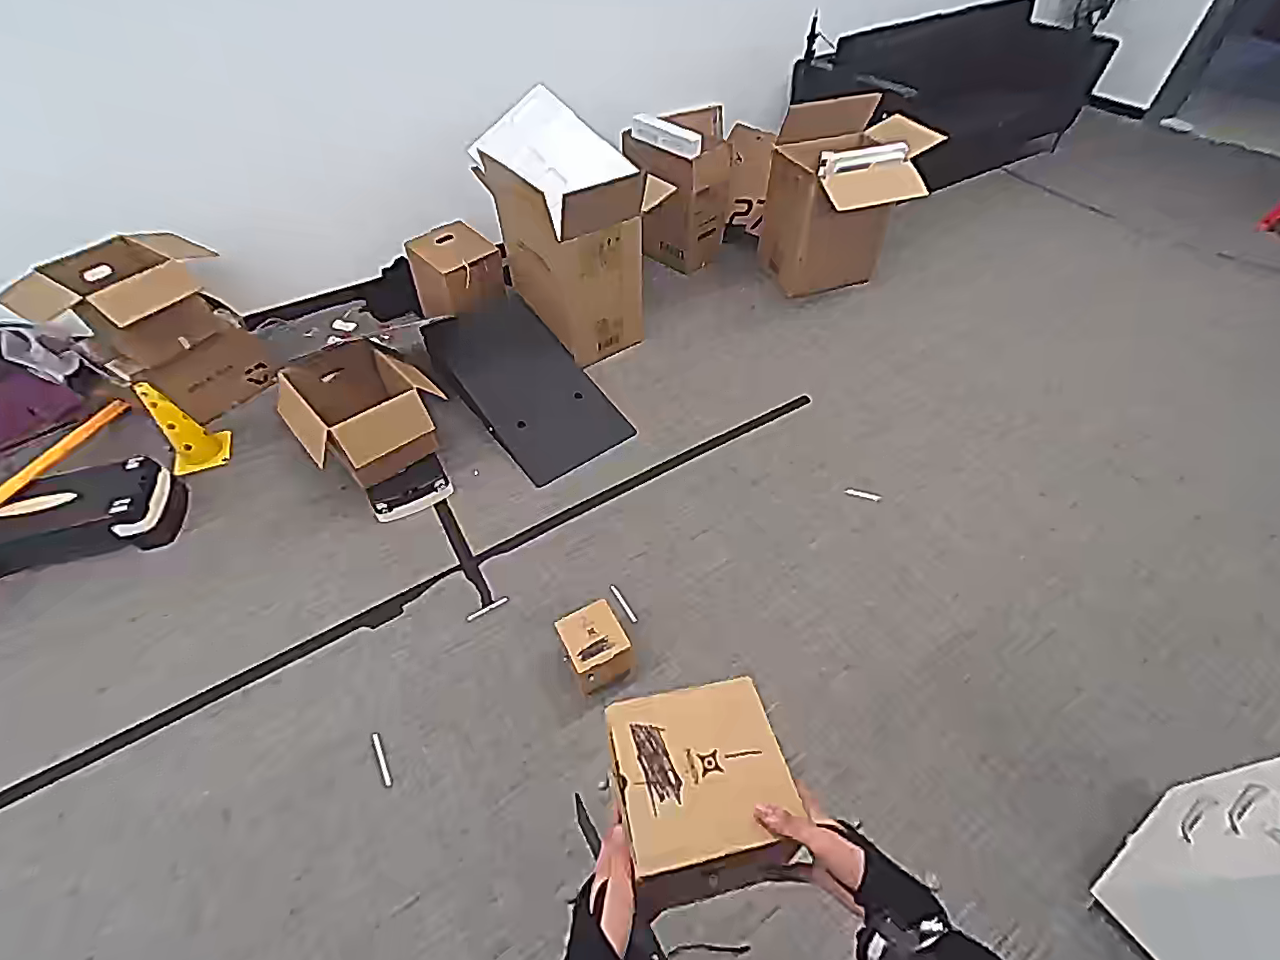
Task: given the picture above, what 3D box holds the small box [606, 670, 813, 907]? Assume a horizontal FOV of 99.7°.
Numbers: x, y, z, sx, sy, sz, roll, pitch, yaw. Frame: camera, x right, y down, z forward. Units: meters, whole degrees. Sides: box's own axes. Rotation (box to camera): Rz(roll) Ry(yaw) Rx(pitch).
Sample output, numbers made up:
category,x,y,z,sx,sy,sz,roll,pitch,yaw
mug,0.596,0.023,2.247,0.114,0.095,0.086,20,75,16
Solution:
category,x,y,z,sx,sy,sz,roll,pitch,yaw
small box,0.062,0.343,0.603,0.179,0.176,0.168,-7,43,-11
